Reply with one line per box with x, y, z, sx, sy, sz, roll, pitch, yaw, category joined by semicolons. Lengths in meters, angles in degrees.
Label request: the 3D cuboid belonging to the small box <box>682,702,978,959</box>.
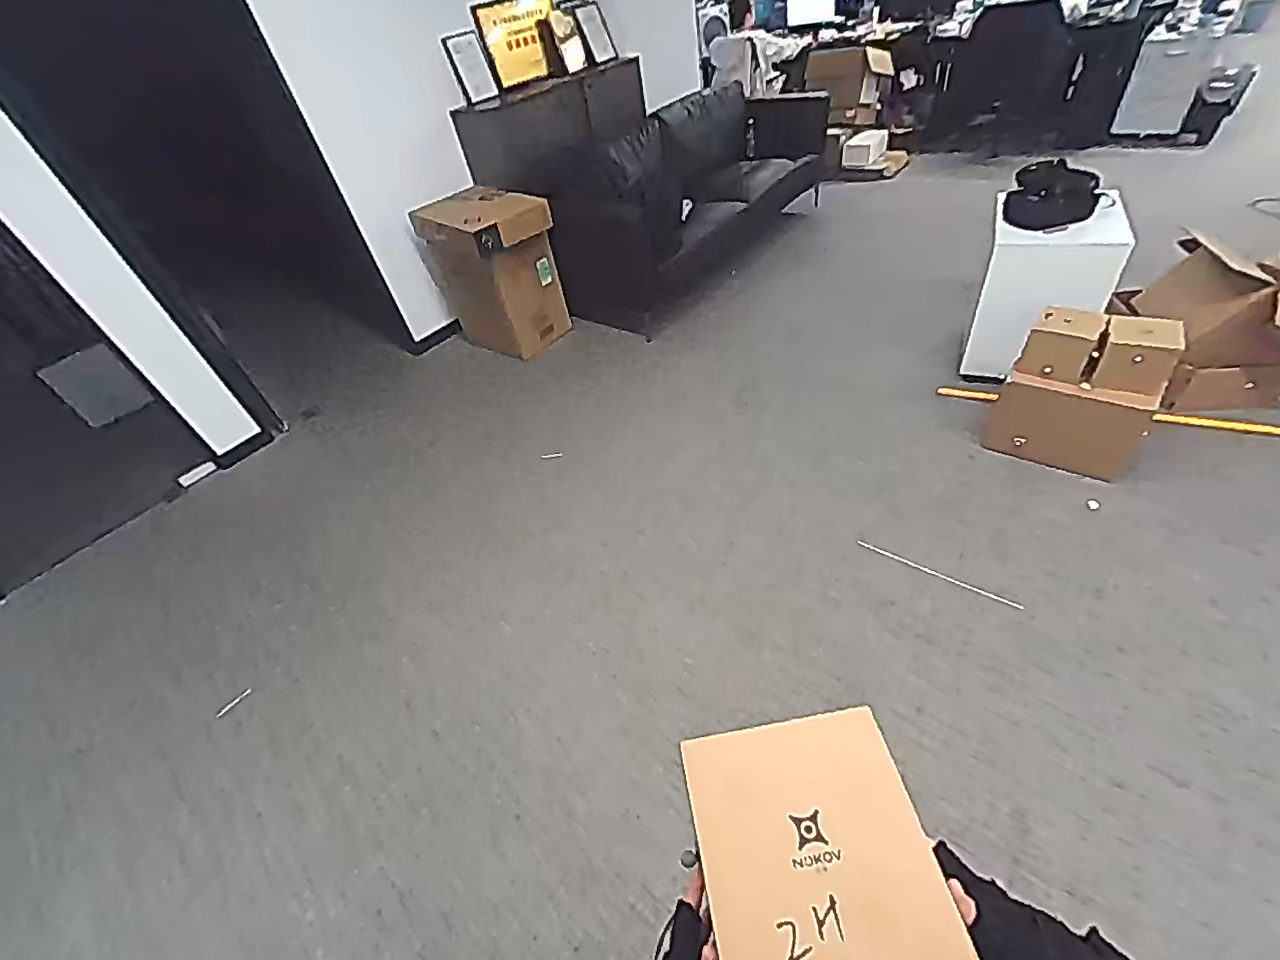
0.132;0.315;0.452;0.168;0.176;0.179;-11;47;-1;small box
